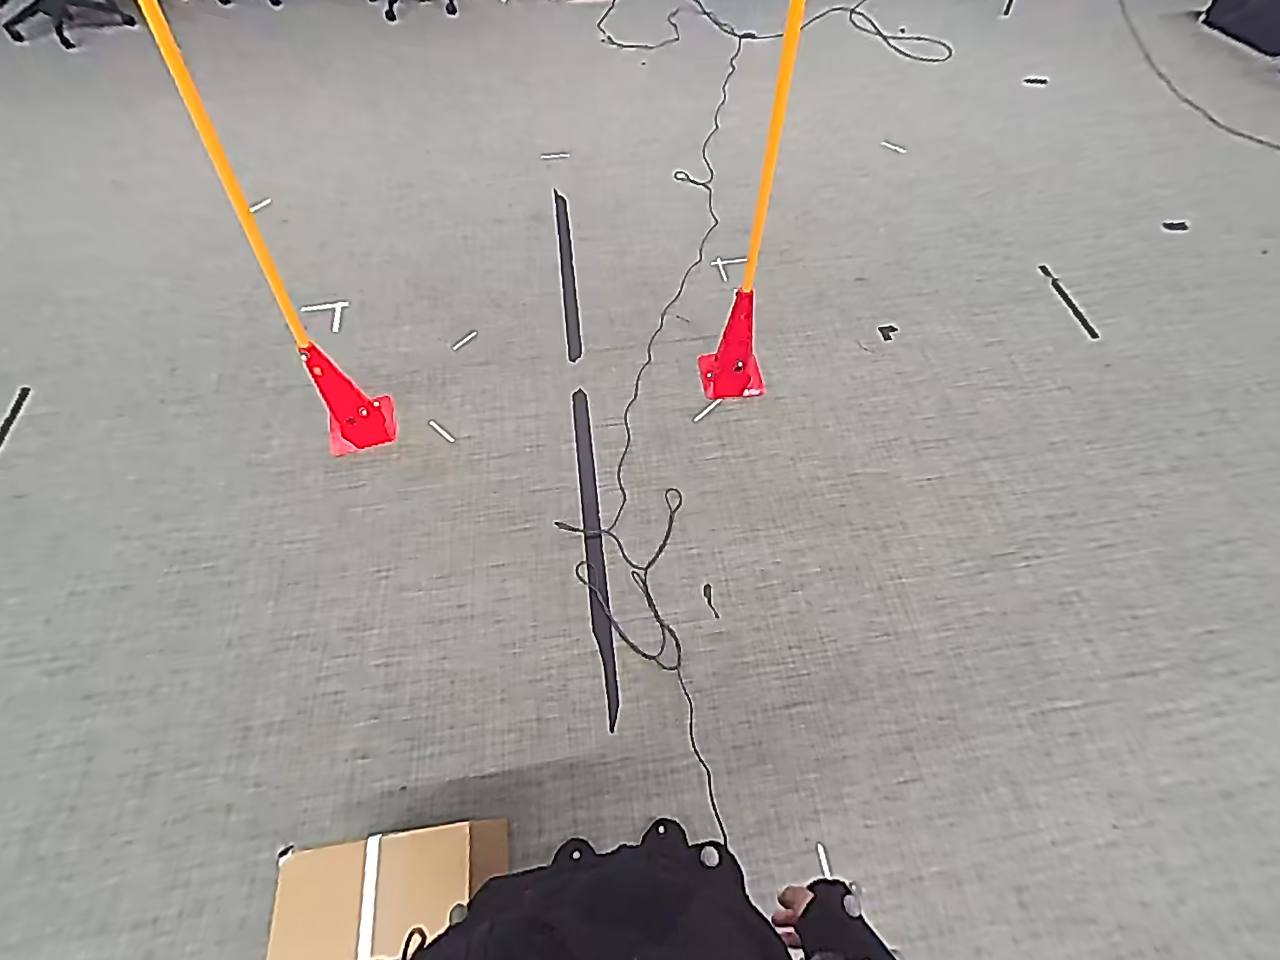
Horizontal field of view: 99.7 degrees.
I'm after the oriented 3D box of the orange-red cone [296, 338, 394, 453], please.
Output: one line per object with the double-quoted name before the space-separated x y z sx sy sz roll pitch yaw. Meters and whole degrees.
"orange-red cone" -0.889 -0.269 1.575 0.199 0.360 0.198 -15 59 -7
